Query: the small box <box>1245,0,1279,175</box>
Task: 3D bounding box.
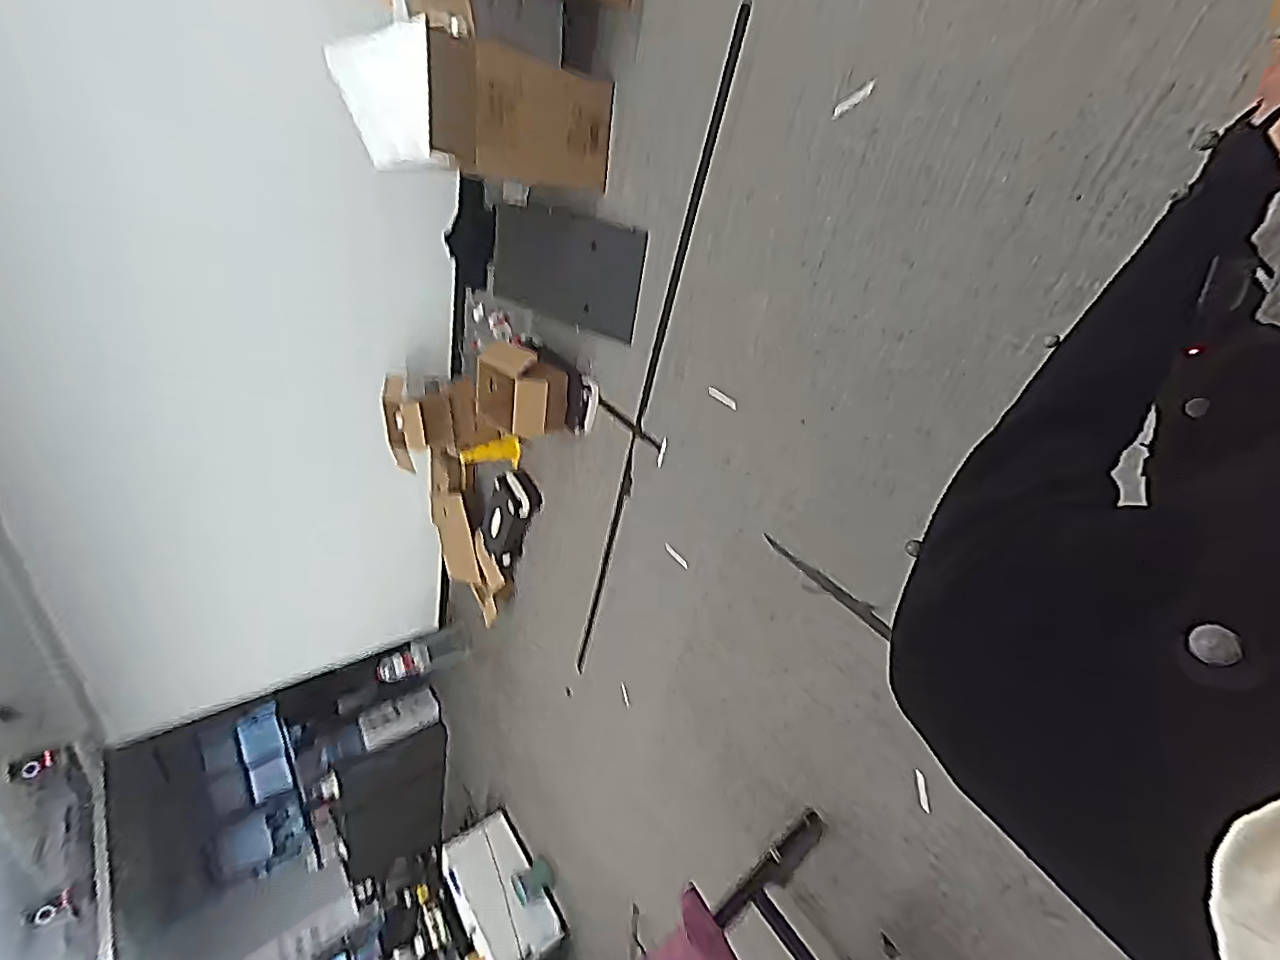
[{"bbox_3d":[0.652,-0.378,0.451,0.168,0.176,0.179,8,112,39],"label":"small box"}]
